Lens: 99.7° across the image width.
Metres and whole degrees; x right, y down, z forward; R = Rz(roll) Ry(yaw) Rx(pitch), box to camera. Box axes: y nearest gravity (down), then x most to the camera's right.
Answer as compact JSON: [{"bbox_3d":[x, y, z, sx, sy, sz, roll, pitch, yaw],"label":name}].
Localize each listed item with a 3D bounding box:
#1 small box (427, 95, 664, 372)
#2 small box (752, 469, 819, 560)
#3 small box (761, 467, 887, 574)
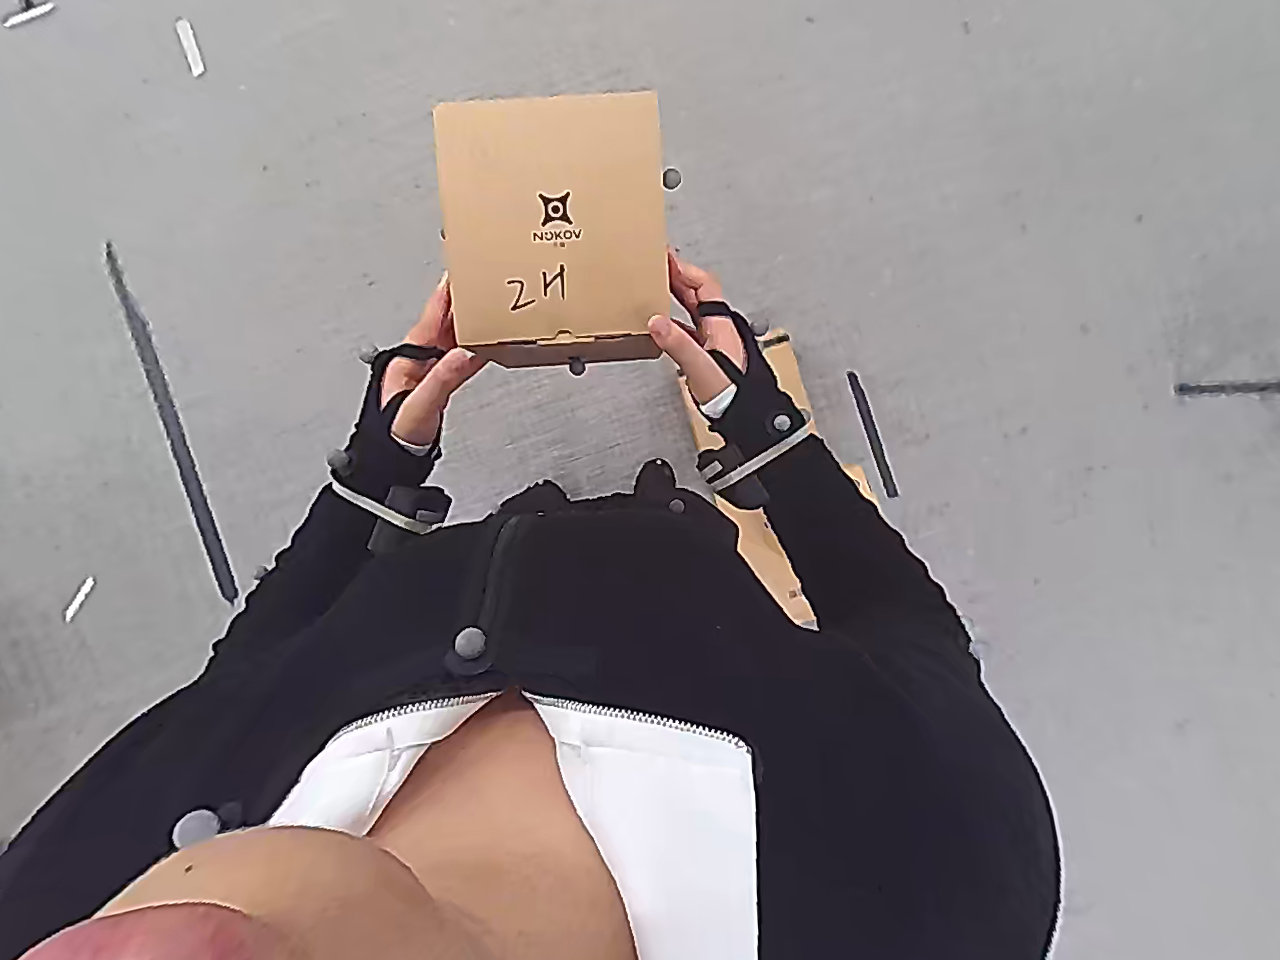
[{"bbox_3d":[-0.071,-0.198,0.482,0.168,0.176,0.179,-5,96,-1],"label":"small box"},{"bbox_3d":[0.381,0.078,1.306,0.179,0.176,0.168,-20,92,1],"label":"small box"},{"bbox_3d":[0.378,0.076,1.142,0.179,0.176,0.168,-23,91,1],"label":"small box"}]
